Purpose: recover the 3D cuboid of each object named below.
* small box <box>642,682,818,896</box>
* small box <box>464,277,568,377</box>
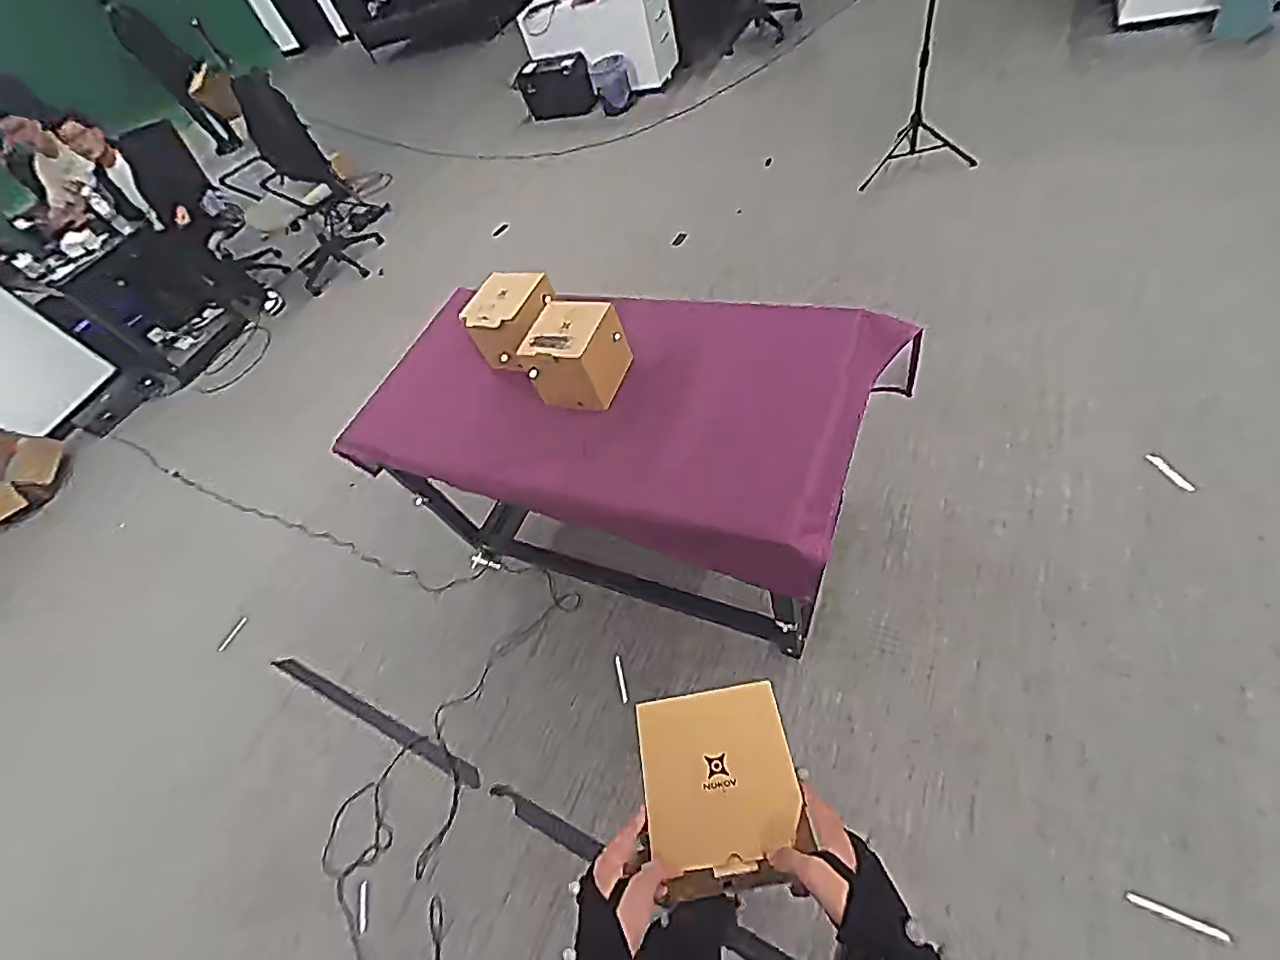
[{"bbox_3d":[0.100,0.370,0.646,0.168,0.176,0.179,-11,46,3],"label":"small box"},{"bbox_3d":[-0.303,-0.389,1.371,0.168,0.176,0.179,10,60,25],"label":"small box"}]
